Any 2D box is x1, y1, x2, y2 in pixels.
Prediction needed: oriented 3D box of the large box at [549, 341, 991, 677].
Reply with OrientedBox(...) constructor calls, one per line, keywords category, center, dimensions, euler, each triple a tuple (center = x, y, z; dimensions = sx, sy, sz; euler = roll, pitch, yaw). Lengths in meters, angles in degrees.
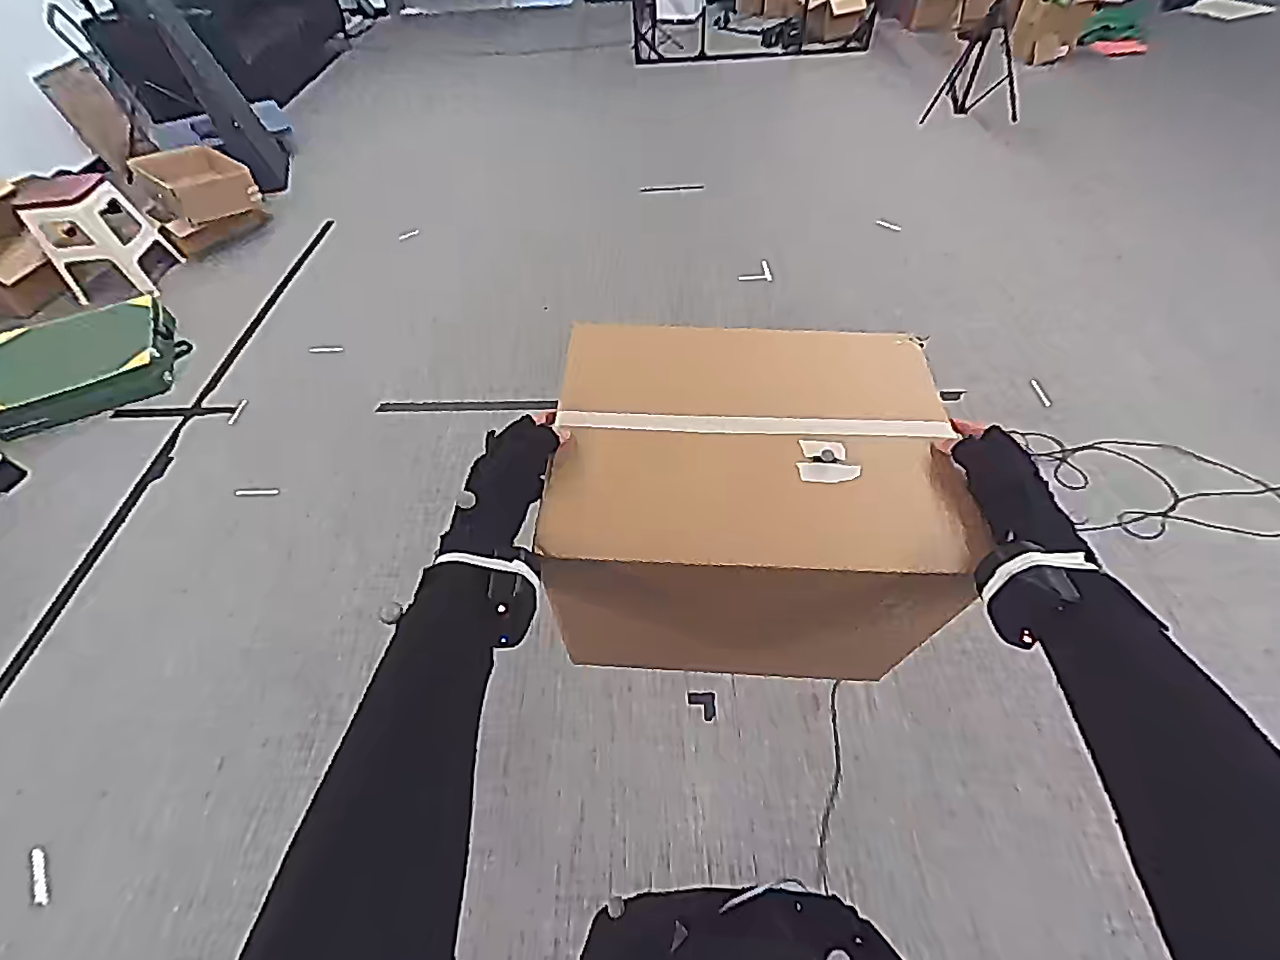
OrientedBox(category="large box", center=(0.119, 0.046, 0.687), dimensions=(0.408, 0.320, 0.320), euler=(2, 55, 2))
